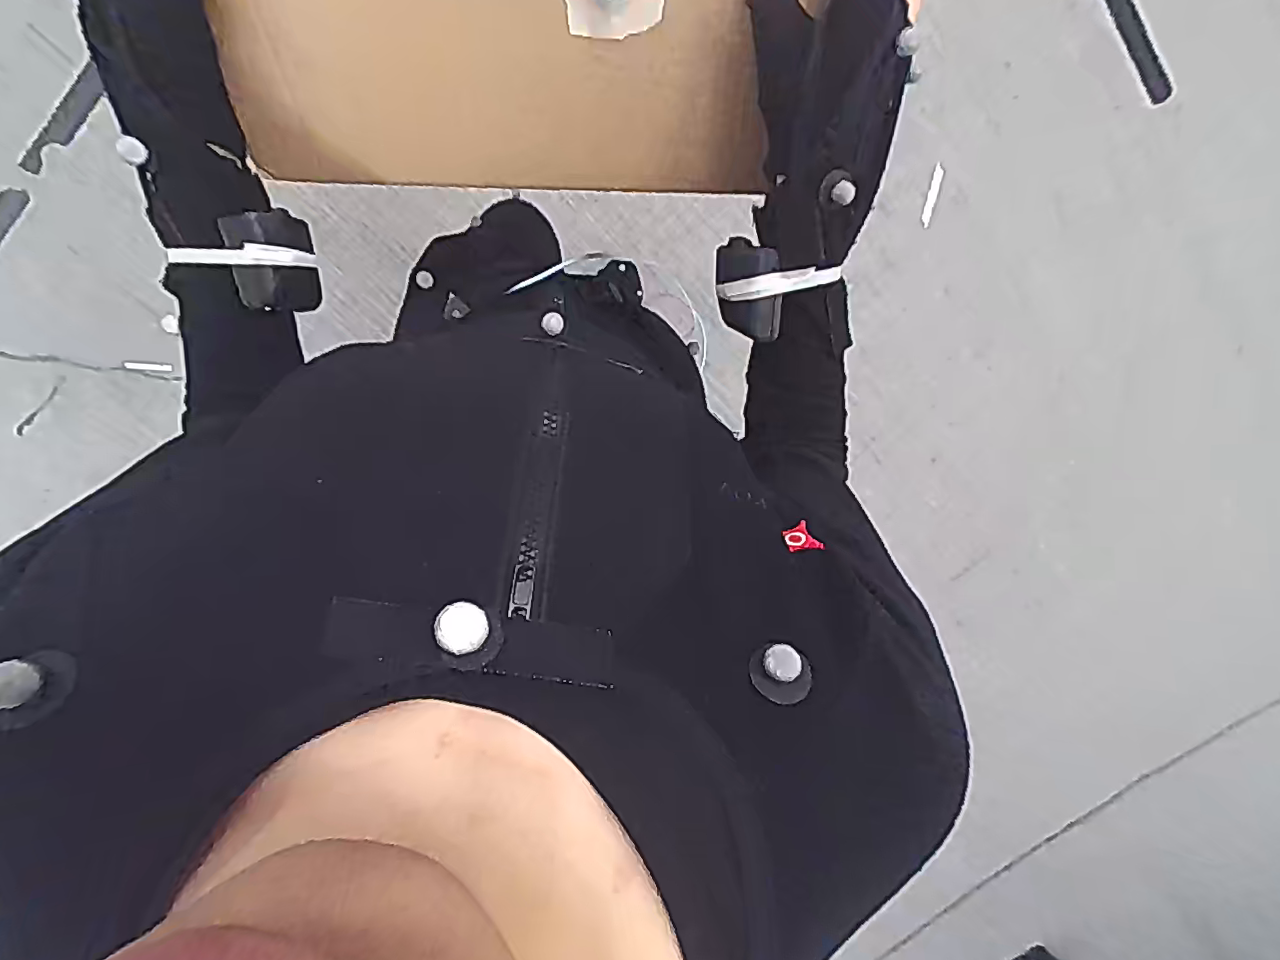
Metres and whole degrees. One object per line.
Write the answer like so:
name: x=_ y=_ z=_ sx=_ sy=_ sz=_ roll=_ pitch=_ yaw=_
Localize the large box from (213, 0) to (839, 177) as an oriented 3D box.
large box: x=-0.068 y=-0.443 z=0.406 sx=0.408 sy=0.320 sz=0.320 roll=3 pitch=136 yaw=3
